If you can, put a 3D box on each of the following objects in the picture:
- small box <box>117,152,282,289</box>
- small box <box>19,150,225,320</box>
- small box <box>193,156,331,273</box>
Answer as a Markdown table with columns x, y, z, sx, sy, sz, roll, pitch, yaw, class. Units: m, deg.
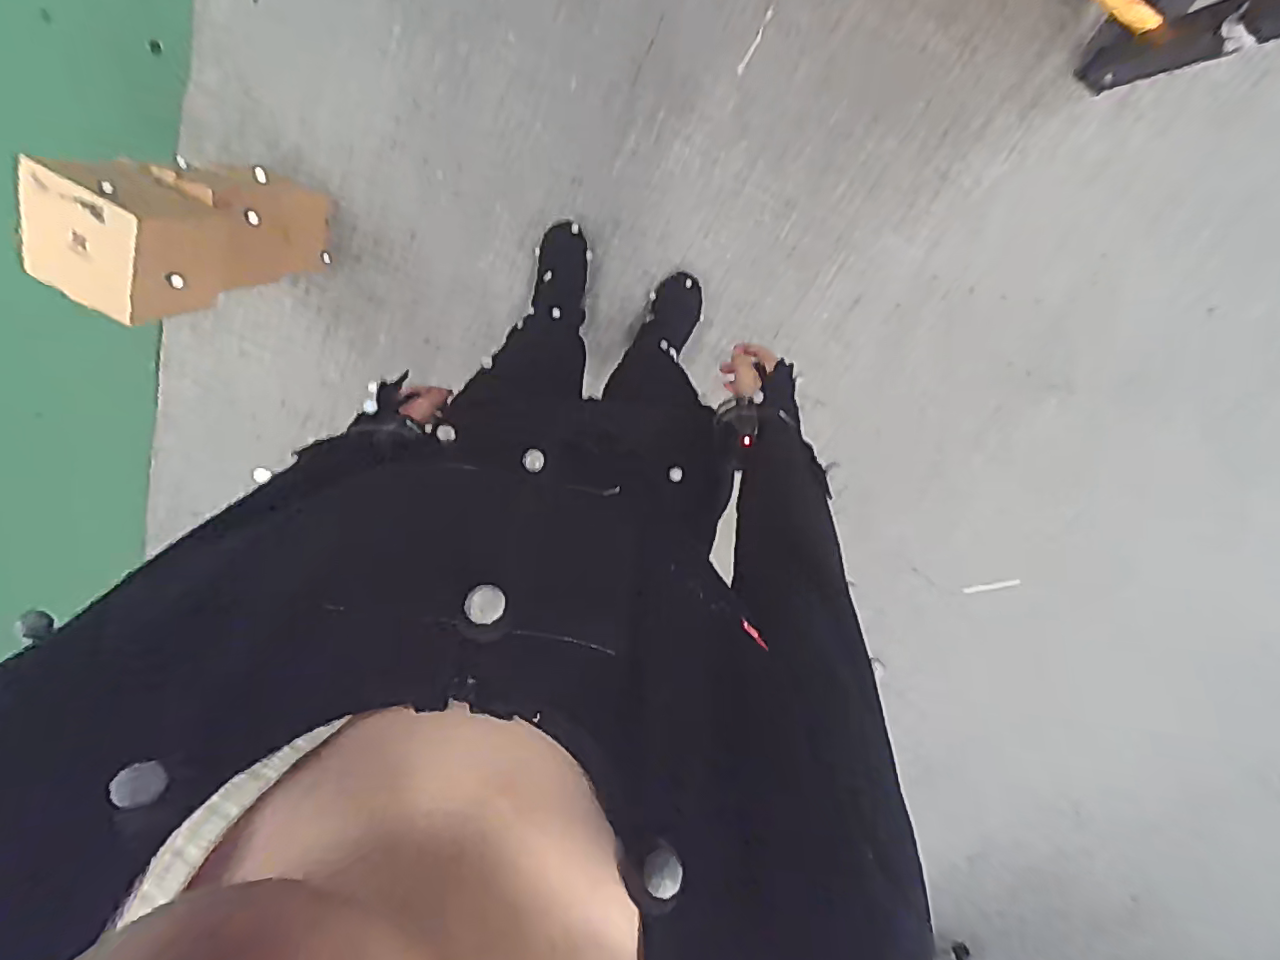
| x | y | z | sx | sy | sz | roll | pitch | yaw | class |
| --- | --- | --- | --- | --- | --- | --- | --- | --- | --- |
| -0.793 | -0.475 | 0.995 | 0.168 | 0.176 | 0.179 | 18 | 118 | -1 | small box |
| -0.804 | -0.385 | 0.856 | 0.168 | 0.176 | 0.179 | 28 | 117 | -8 | small box |
| -0.783 | -0.555 | 1.135 | 0.179 | 0.176 | 0.168 | 20 | 117 | -3 | small box |
